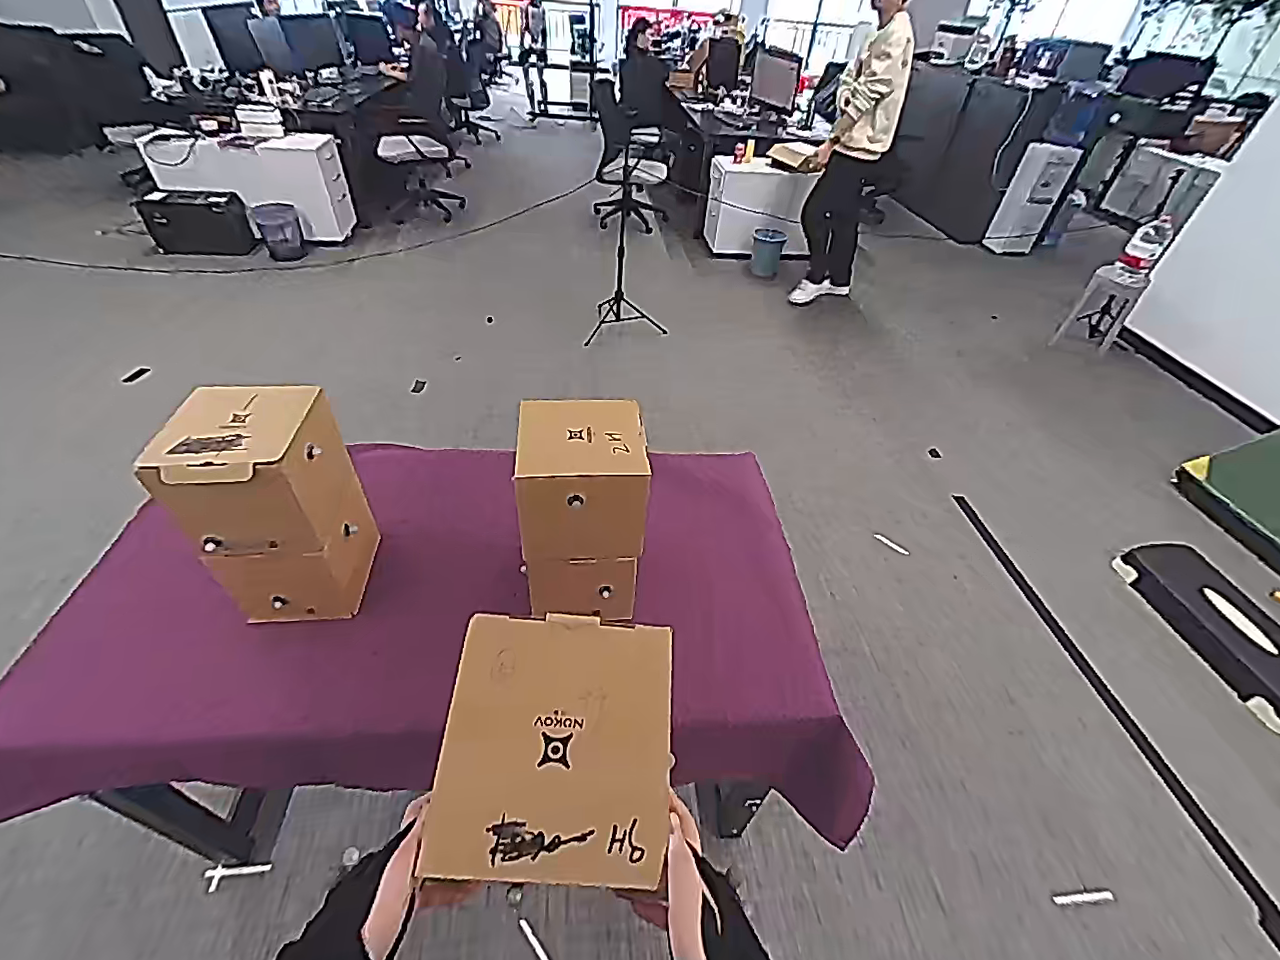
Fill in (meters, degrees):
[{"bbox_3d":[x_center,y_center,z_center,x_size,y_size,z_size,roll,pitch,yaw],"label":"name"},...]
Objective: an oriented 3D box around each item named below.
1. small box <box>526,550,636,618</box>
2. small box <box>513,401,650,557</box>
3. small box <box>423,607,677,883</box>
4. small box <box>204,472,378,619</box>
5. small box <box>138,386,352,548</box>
[{"bbox_3d":[-0.096,0.119,0.908,0.168,0.176,0.179,0,43,-6],"label":"small box"},{"bbox_3d":[-0.085,0.001,0.793,0.179,0.176,0.168,-1,44,-7],"label":"small box"},{"bbox_3d":[-0.062,0.227,0.464,0.168,0.176,0.179,5,57,-1],"label":"small box"},{"bbox_3d":[-0.544,0.105,0.878,0.168,0.176,0.179,-1,44,-7],"label":"small box"},{"bbox_3d":[-0.533,-0.015,0.767,0.168,0.176,0.179,-1,43,-8],"label":"small box"}]
